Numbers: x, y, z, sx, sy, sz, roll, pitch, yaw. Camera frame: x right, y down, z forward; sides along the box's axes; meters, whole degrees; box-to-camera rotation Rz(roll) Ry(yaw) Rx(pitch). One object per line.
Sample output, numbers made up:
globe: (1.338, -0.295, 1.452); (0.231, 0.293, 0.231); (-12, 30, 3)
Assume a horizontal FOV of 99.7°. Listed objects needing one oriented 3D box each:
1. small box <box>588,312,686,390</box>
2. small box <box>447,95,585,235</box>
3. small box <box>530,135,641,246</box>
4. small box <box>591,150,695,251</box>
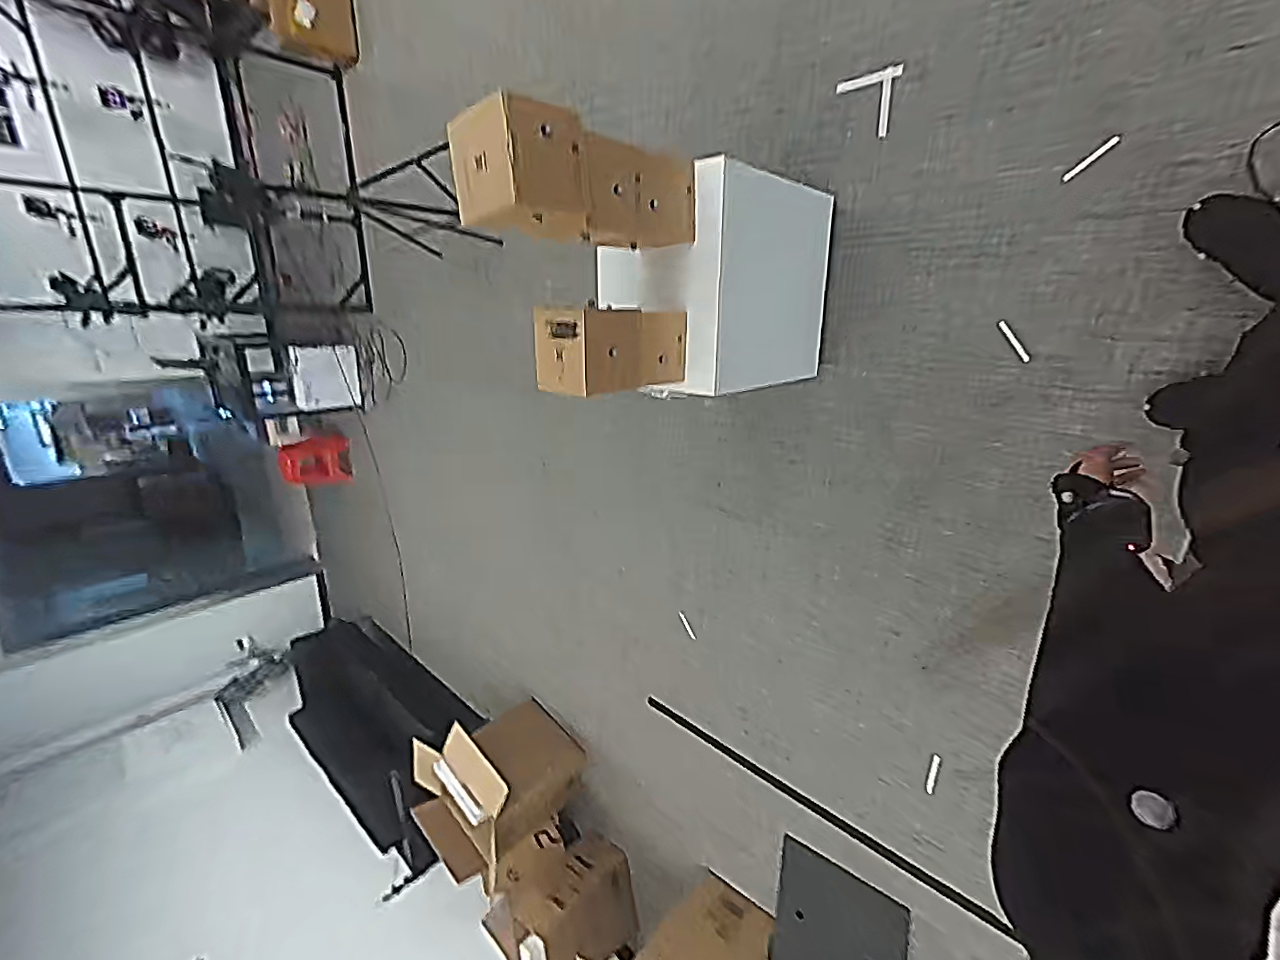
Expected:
small box: (-0.004, -0.317, 1.304); (0.179, 0.176, 0.168); (17, 114, 40)
small box: (-0.211, -0.543, 0.959); (0.179, 0.176, 0.168); (8, 109, 43)
small box: (-0.110, -0.569, 1.085); (0.179, 0.176, 0.168); (14, 113, 41)
small box: (0.003, -0.607, 1.200); (0.179, 0.176, 0.168); (13, 113, 41)
